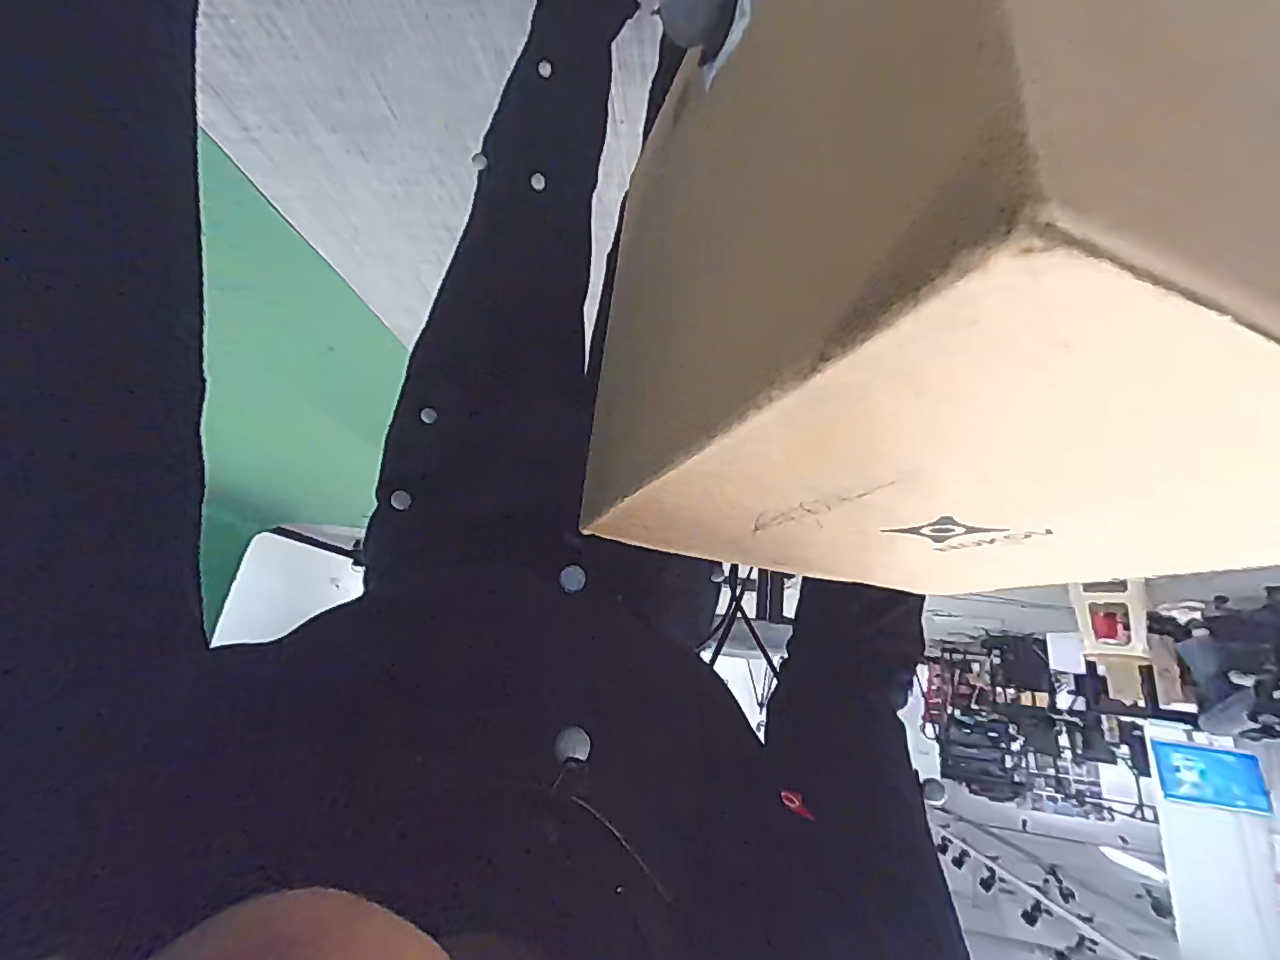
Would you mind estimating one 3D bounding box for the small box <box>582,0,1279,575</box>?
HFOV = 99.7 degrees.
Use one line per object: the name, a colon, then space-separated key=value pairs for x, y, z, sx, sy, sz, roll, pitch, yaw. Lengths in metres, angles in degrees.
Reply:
small box: x=0.095 y=-0.071 z=0.180 sx=0.179 sy=0.176 sz=0.168 roll=13 pitch=160 yaw=-17
